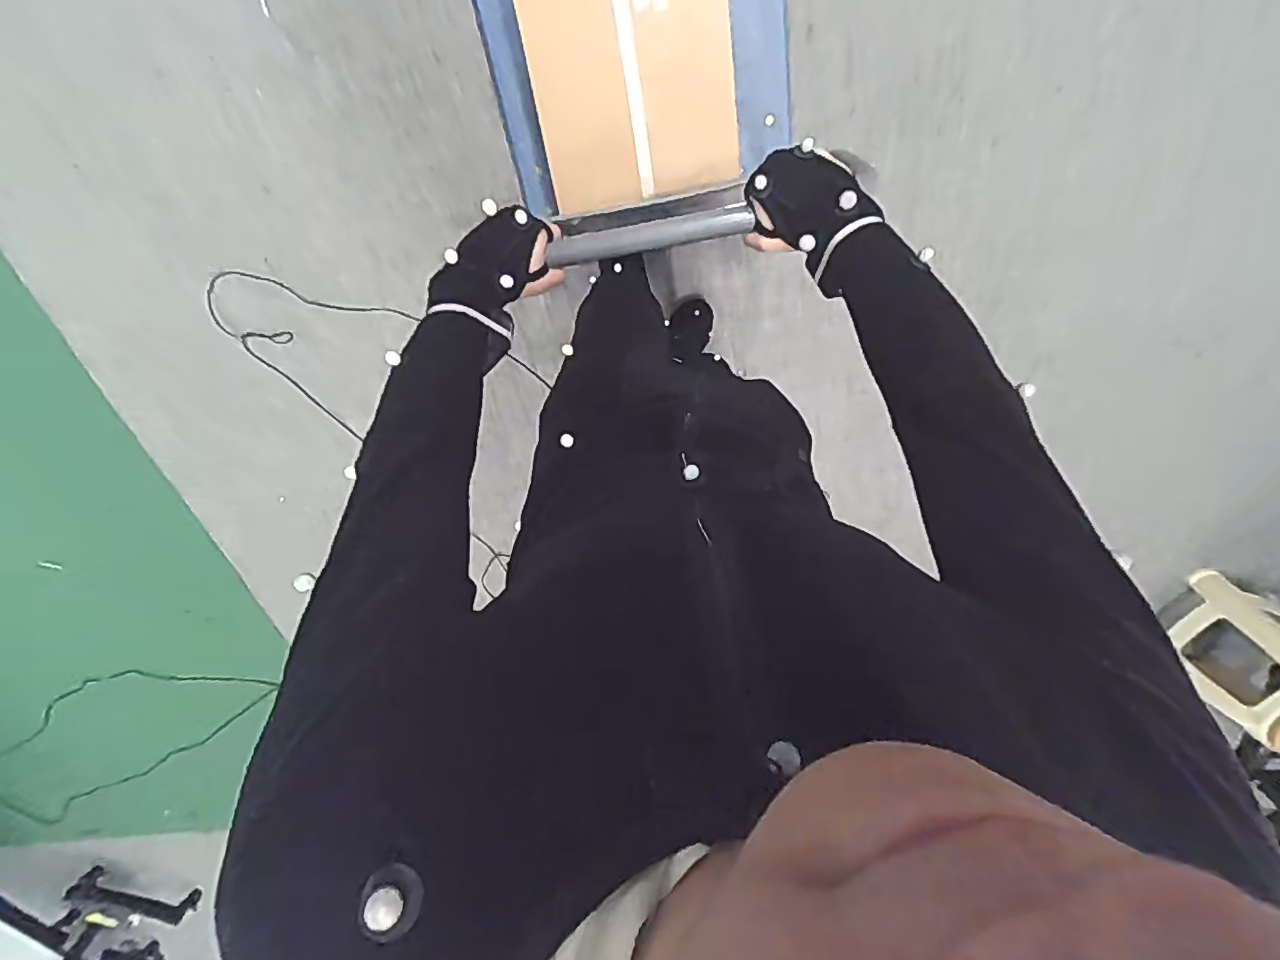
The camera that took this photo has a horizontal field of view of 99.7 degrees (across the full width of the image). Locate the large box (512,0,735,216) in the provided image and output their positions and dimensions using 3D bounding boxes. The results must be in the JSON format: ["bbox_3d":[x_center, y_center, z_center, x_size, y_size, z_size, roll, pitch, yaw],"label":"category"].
[{"bbox_3d":[-0.014,-0.726,0.972,0.320,0.320,0.408,-7,117,7],"label":"large box"}]
